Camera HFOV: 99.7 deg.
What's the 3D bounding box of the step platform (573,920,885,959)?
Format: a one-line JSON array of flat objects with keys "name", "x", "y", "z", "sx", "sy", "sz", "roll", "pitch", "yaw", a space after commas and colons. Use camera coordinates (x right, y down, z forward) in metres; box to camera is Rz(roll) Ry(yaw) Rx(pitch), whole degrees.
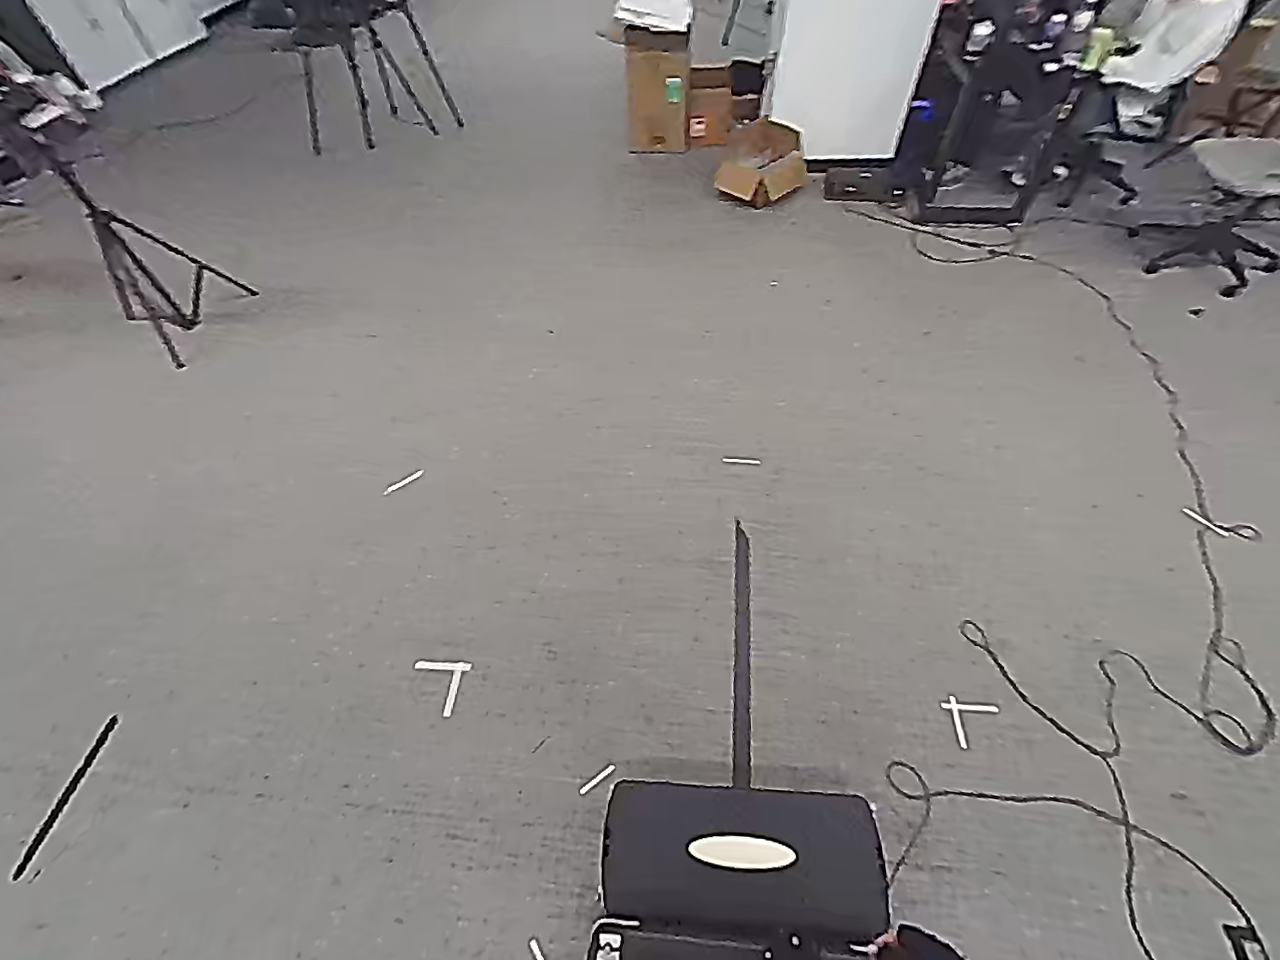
[{"name": "step platform", "x": 0.184, "y": 1.112, "z": 1.106, "sx": 0.684, "sy": 0.204, "sz": 0.286, "roll": 1, "pitch": 52, "yaw": 5}]
